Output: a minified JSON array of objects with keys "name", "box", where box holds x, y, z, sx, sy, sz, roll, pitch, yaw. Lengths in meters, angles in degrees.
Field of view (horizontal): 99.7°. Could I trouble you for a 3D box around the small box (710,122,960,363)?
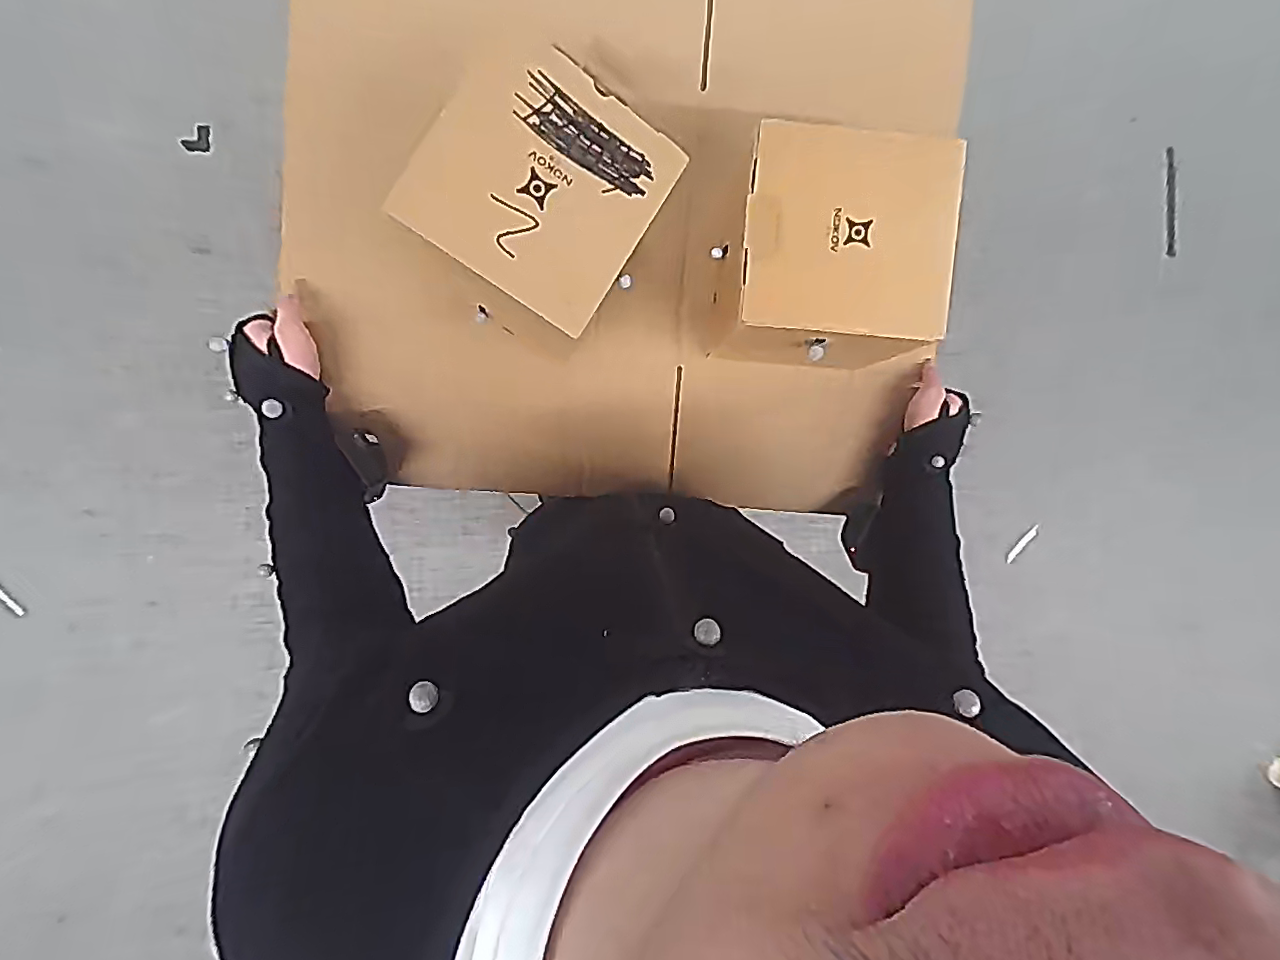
[{"name":"small box","box":[0.176,-0.215,0.539,0.179,0.176,0.168,5,93,-2]}]
